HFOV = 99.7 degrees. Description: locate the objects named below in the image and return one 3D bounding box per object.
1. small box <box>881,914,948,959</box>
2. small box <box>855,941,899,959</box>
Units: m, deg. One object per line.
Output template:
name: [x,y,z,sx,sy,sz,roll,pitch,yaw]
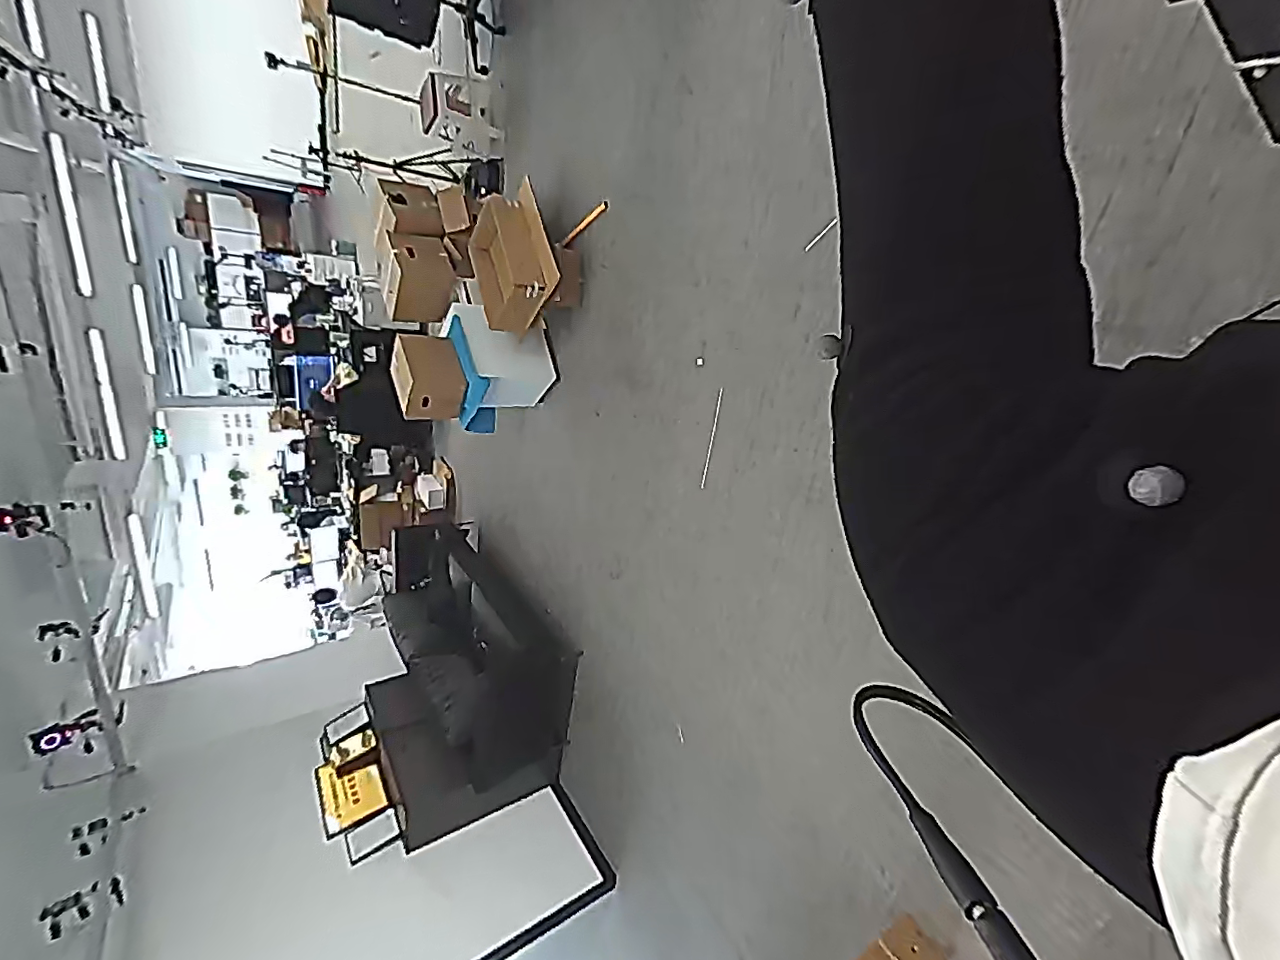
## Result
small box: [0.896,1.605,1.801,0.168,0.176,0.179,44,128,43]
small box: [0.758,1.624,1.718,0.179,0.176,0.168,41,127,43]
